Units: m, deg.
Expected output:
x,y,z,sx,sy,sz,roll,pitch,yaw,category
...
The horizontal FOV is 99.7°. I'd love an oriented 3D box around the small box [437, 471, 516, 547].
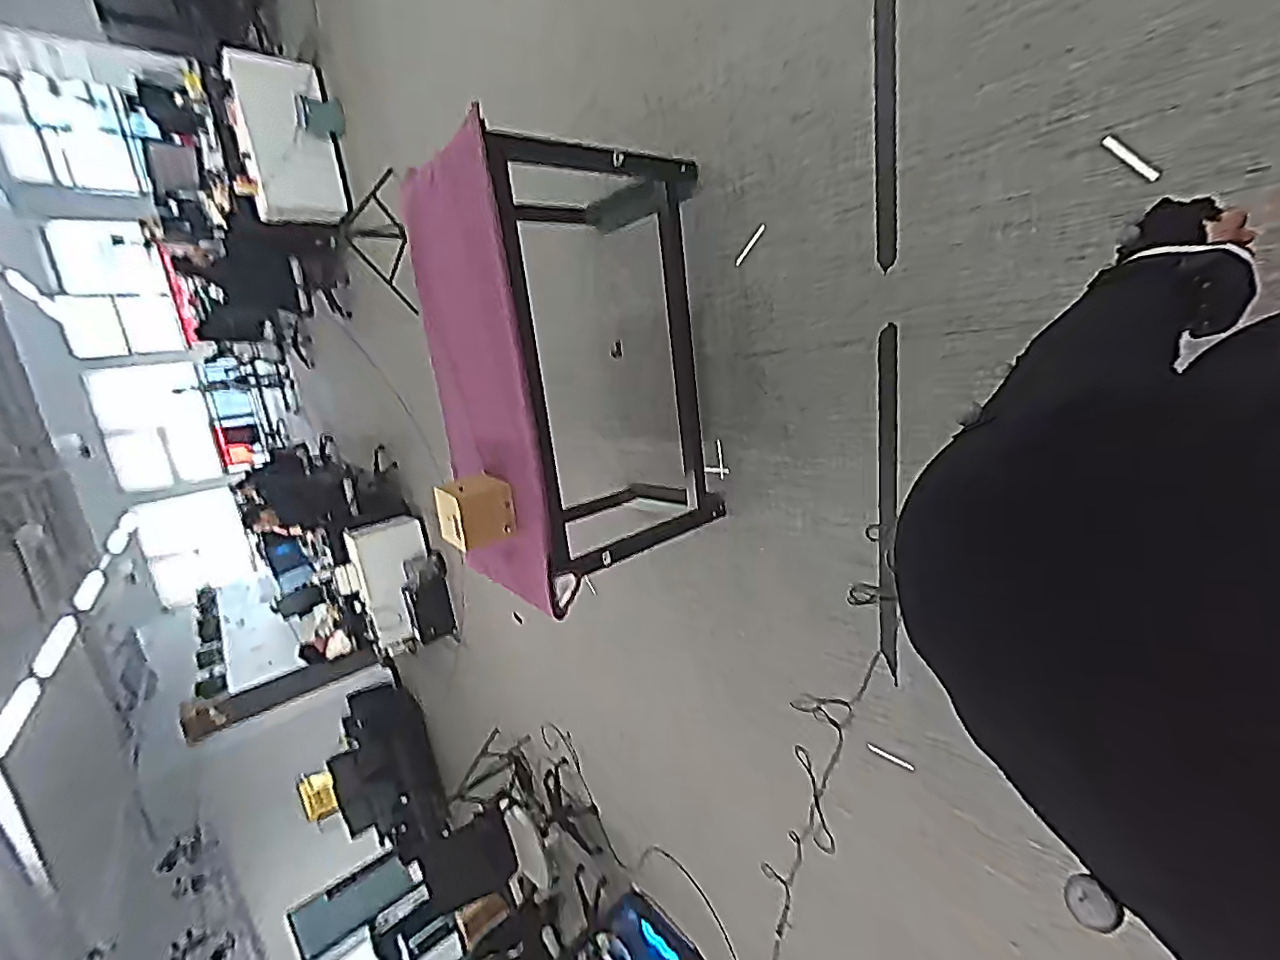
x,y,z,sx,sy,sz,roll,pitch,yaw,category
-0.484,0.078,1.623,0.179,0.176,0.168,17,116,47,small box
